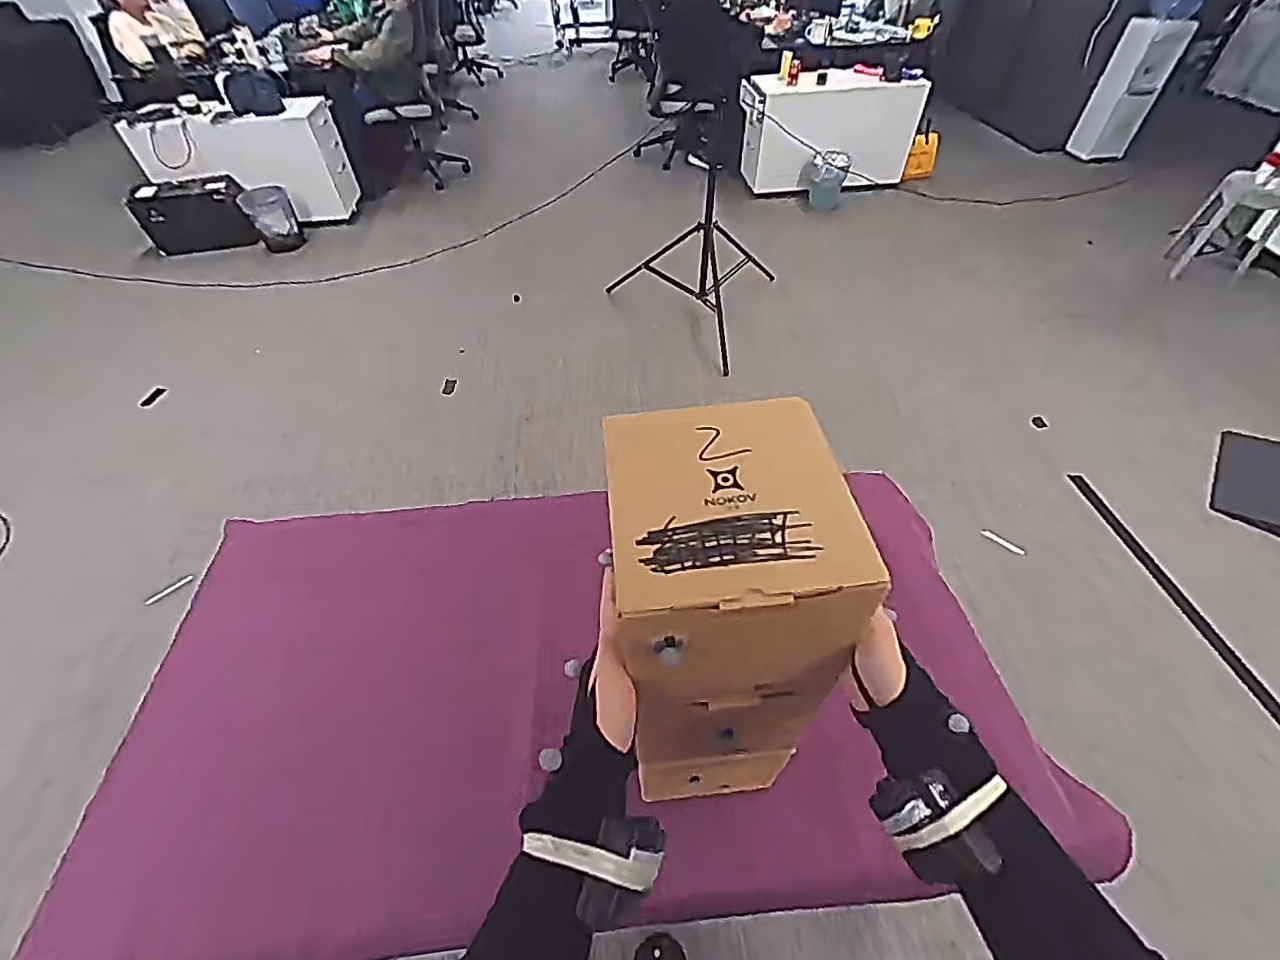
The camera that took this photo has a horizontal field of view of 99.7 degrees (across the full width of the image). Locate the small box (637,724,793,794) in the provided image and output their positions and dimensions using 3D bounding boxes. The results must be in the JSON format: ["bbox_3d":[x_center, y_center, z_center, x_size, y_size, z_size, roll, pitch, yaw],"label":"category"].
[{"bbox_3d":[0.078,0.278,0.679,0.168,0.176,0.179,-5,48,-3],"label":"small box"}]

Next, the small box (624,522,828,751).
[{"bbox_3d":[0.074,0.167,0.559,0.168,0.176,0.179,-5,49,-2],"label":"small box"}]
